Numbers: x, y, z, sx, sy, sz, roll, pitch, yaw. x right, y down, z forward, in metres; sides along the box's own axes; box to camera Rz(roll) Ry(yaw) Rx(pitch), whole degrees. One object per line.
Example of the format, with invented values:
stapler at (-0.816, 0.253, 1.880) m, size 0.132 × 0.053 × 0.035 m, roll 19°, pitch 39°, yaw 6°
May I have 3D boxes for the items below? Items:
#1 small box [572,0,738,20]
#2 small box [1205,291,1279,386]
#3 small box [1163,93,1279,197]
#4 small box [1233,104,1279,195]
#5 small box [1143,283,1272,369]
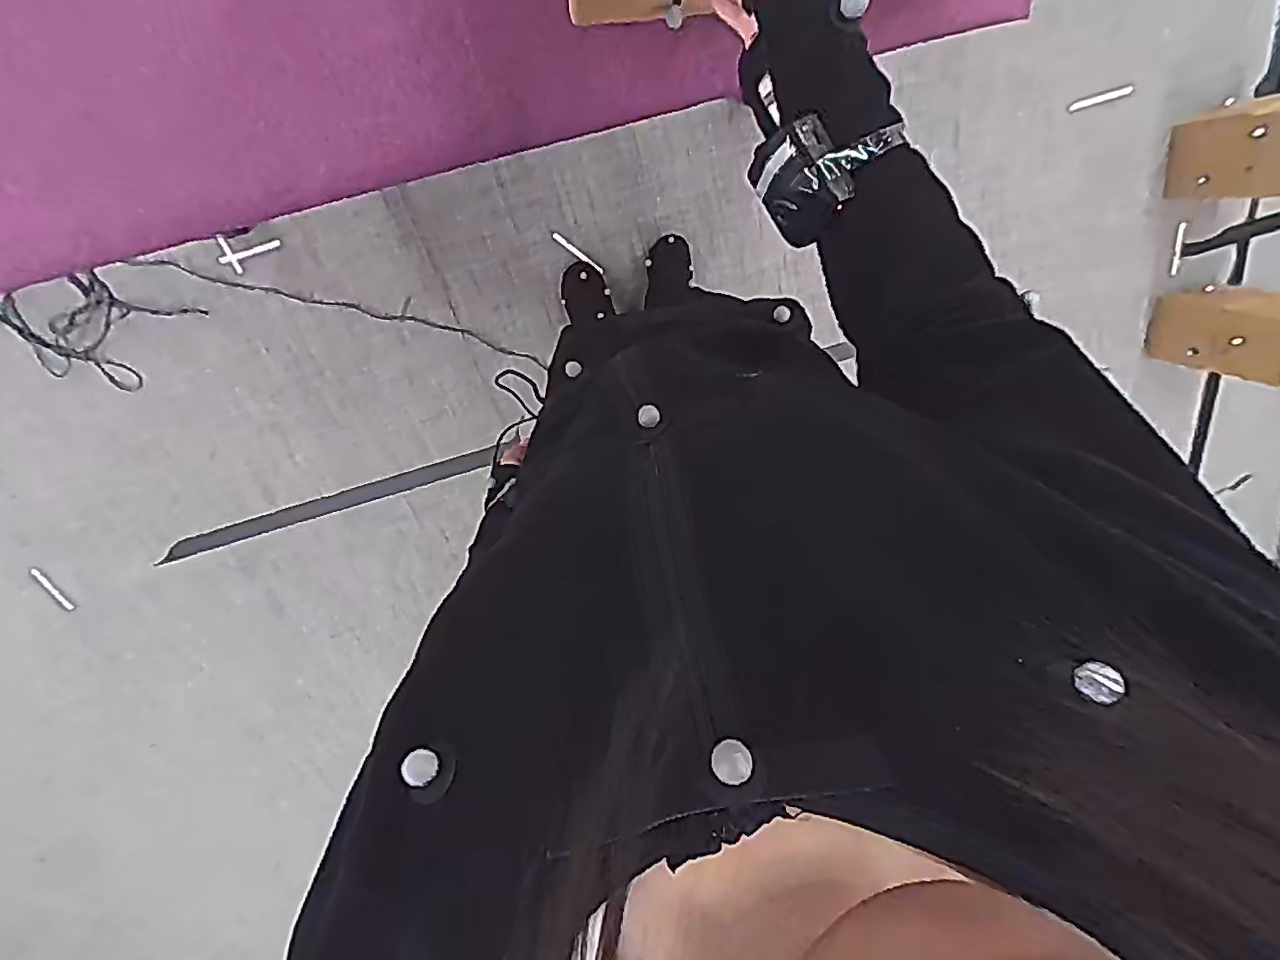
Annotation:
small box at (0.028, -0.463, 0.385) m, size 0.179 × 0.176 × 0.168 m, roll -10°, pitch 117°, yaw -3°
small box at (1.573, -0.354, 1.328) m, size 0.179 × 0.176 × 0.168 m, roll -17°, pitch 119°, yaw 0°
small box at (1.394, -0.783, 1.271) m, size 0.168 × 0.176 × 0.179 m, roll -20°, pitch 116°, yaw 0°
small box at (1.419, -0.706, 1.128) m, size 0.179 × 0.176 × 0.168 m, roll -18°, pitch 118°, yaw -2°
small box at (1.537, -0.423, 1.472) m, size 0.168 × 0.176 × 0.179 m, roll -14°, pitch 118°, yaw -3°
